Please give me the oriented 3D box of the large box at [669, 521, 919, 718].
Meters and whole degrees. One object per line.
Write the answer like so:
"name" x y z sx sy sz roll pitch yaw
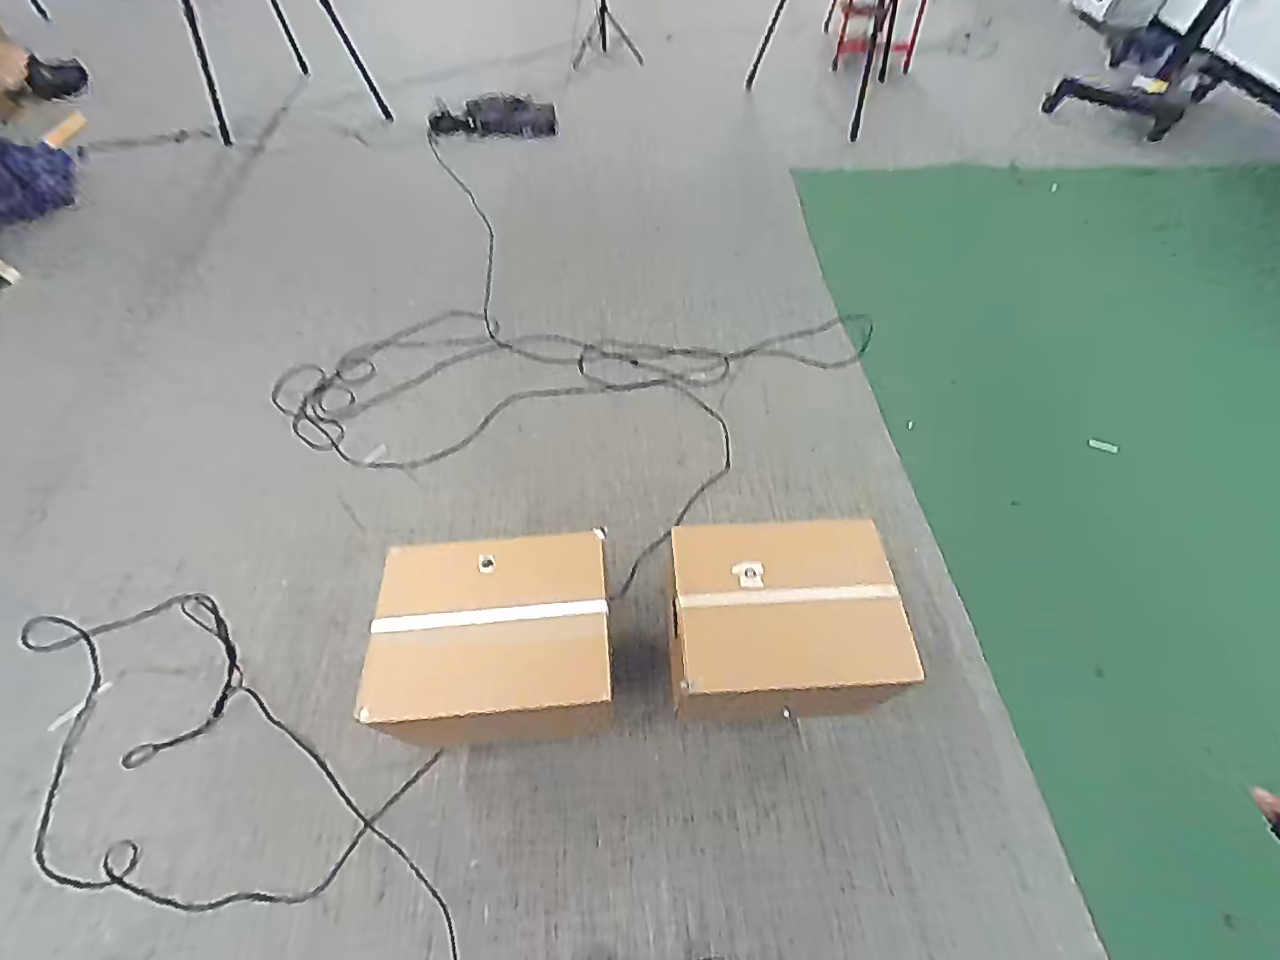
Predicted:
"large box" 0.276 0.299 1.123 0.408 0.320 0.320 -2 57 -2
